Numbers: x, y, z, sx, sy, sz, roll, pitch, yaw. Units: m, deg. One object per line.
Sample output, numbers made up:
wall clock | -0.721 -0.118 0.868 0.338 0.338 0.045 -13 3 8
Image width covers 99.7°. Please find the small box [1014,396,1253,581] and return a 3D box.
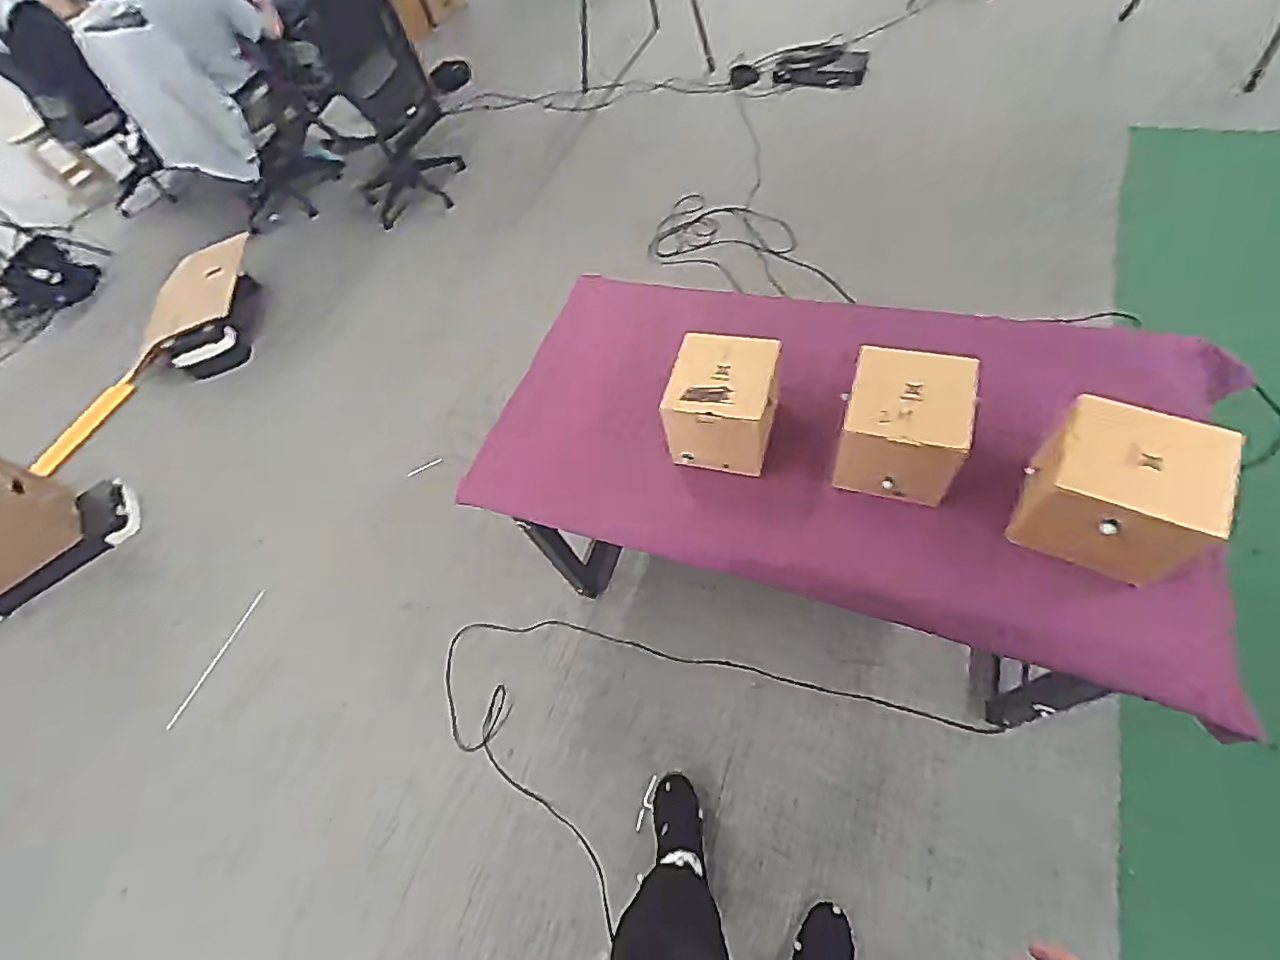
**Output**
small box | 0.659 0.019 0.743 0.179 0.176 0.168 23 68 26

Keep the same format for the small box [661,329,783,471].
small box | 0.151 -0.136 0.949 0.168 0.176 0.179 11 62 18

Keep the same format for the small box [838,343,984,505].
small box | 0.420 -0.087 0.859 0.168 0.176 0.179 13 64 21
